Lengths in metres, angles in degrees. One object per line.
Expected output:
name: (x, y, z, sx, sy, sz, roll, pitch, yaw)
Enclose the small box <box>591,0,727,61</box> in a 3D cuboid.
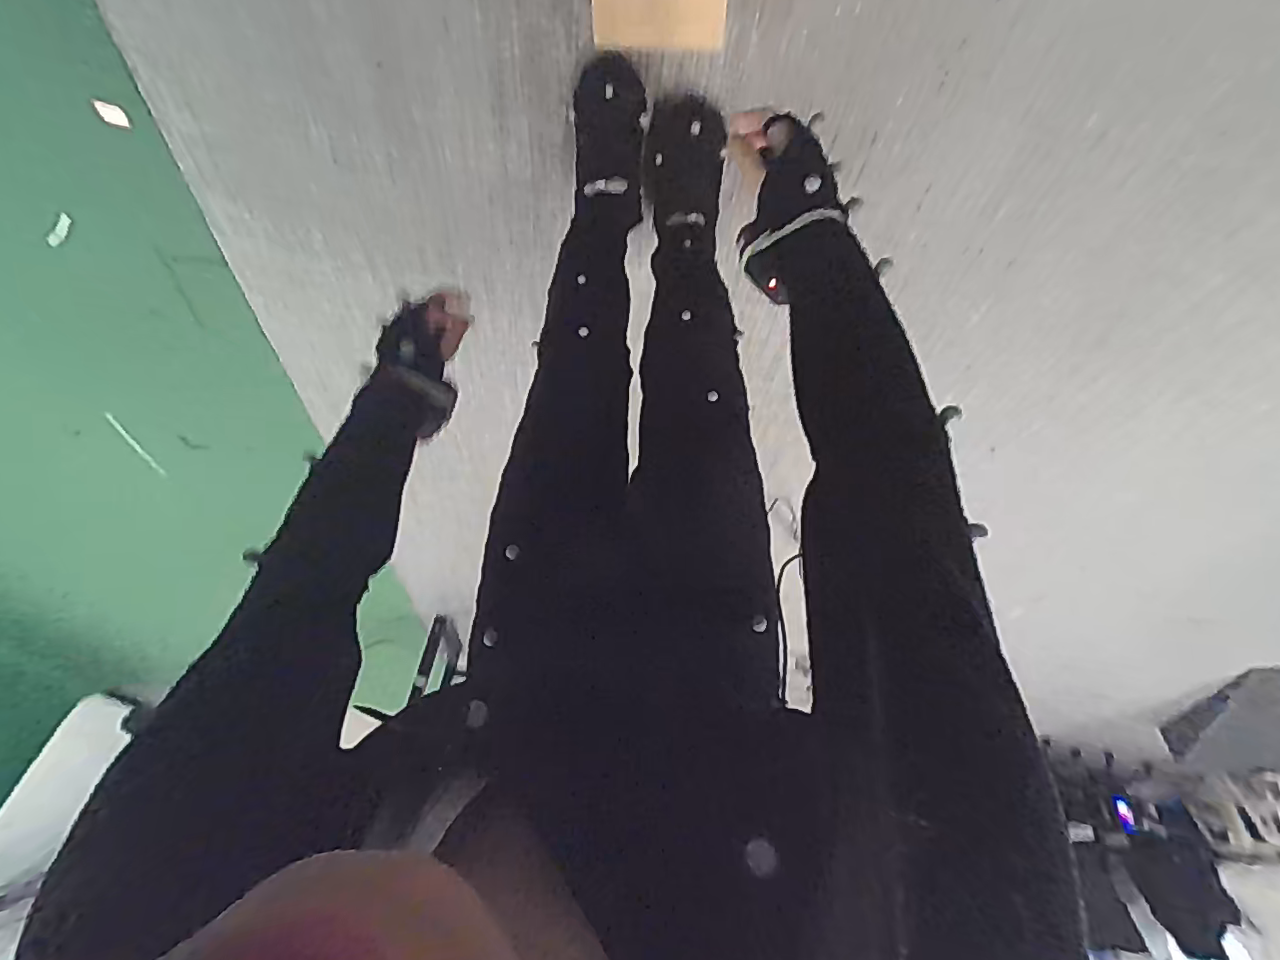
small box: (0.031, -0.653, 0.666, 0.168, 0.176, 0.179, 4, 143, 3)
